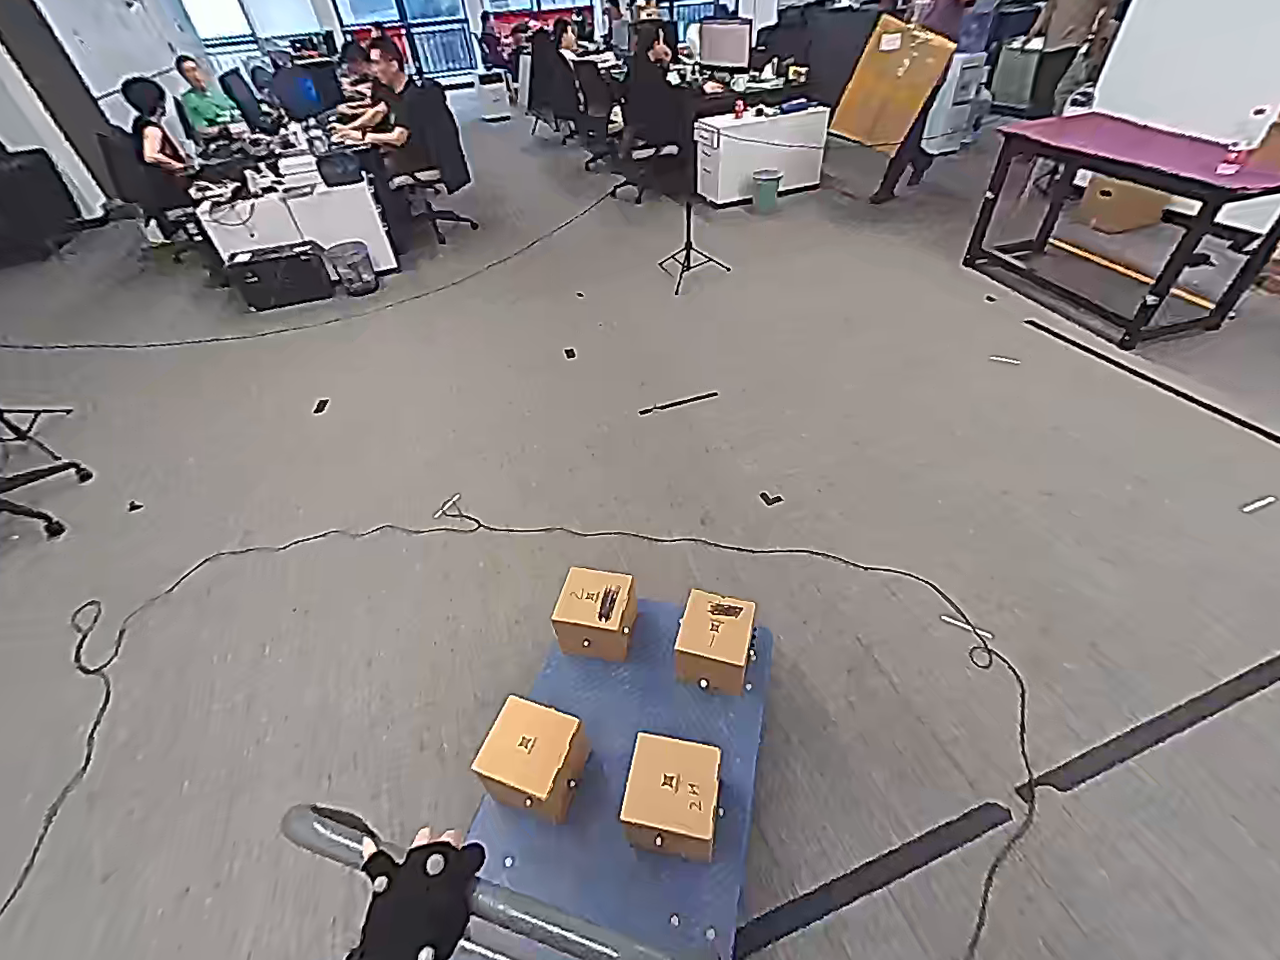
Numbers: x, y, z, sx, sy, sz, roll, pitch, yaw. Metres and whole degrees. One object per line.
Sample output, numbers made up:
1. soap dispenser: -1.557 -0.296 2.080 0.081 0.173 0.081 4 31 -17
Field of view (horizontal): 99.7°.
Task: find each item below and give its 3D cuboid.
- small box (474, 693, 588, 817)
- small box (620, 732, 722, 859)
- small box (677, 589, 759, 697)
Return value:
1. small box: -0.228 0.602 1.179 0.179 0.176 0.168 13 45 16
2. small box: 0.069 0.645 1.104 0.179 0.176 0.168 7 44 12
3. small box: 0.193 0.406 1.349 0.168 0.176 0.179 11 46 16
